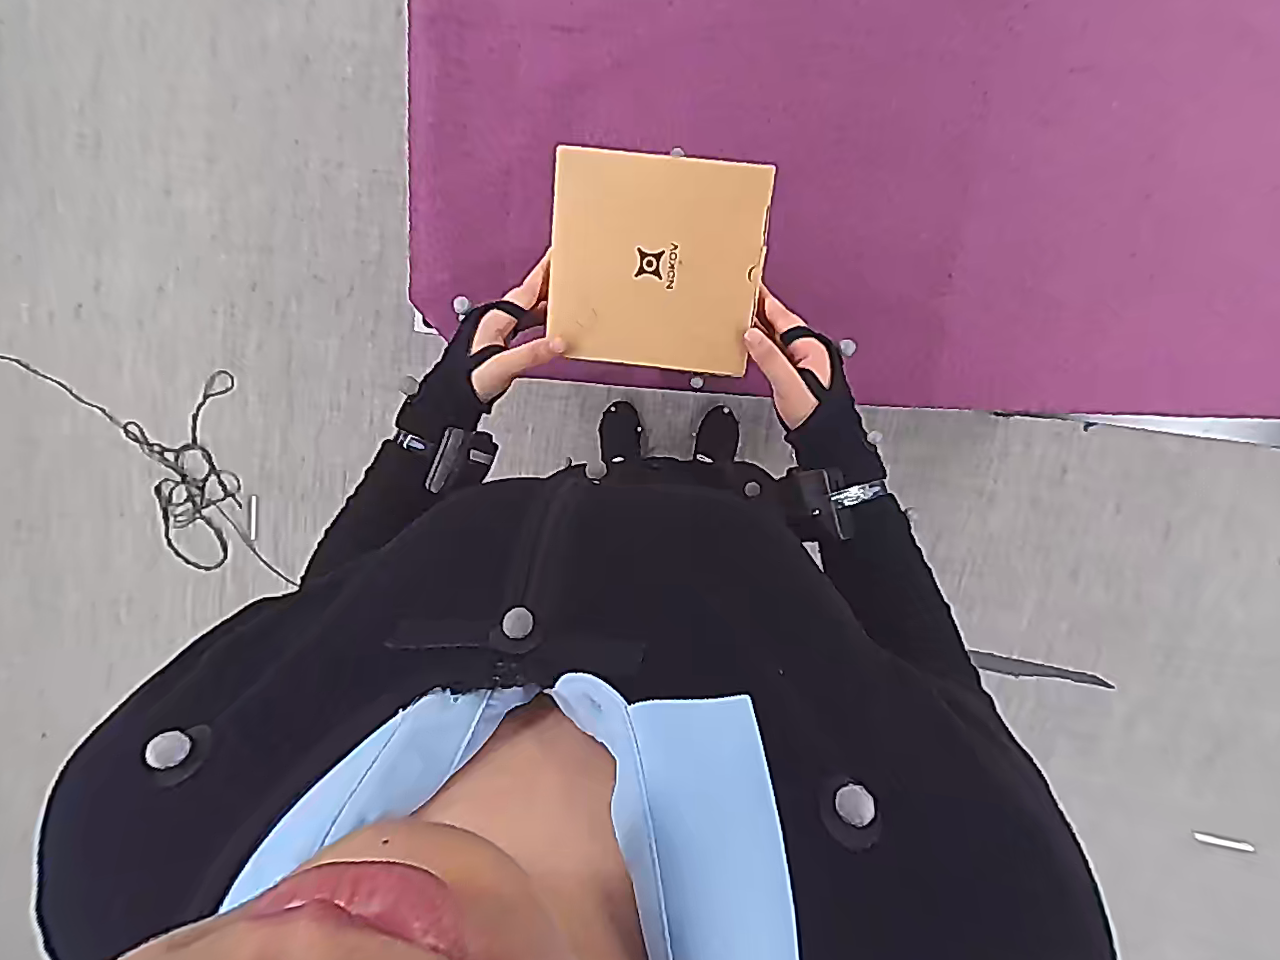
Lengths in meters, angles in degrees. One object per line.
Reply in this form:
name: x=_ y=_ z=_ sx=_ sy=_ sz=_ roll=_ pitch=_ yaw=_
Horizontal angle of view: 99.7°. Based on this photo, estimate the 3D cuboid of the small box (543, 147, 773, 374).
small box: x=0.015 y=-0.192 z=0.520 sx=0.179 sy=0.176 sz=0.168 roll=6 pitch=102 yaw=1
